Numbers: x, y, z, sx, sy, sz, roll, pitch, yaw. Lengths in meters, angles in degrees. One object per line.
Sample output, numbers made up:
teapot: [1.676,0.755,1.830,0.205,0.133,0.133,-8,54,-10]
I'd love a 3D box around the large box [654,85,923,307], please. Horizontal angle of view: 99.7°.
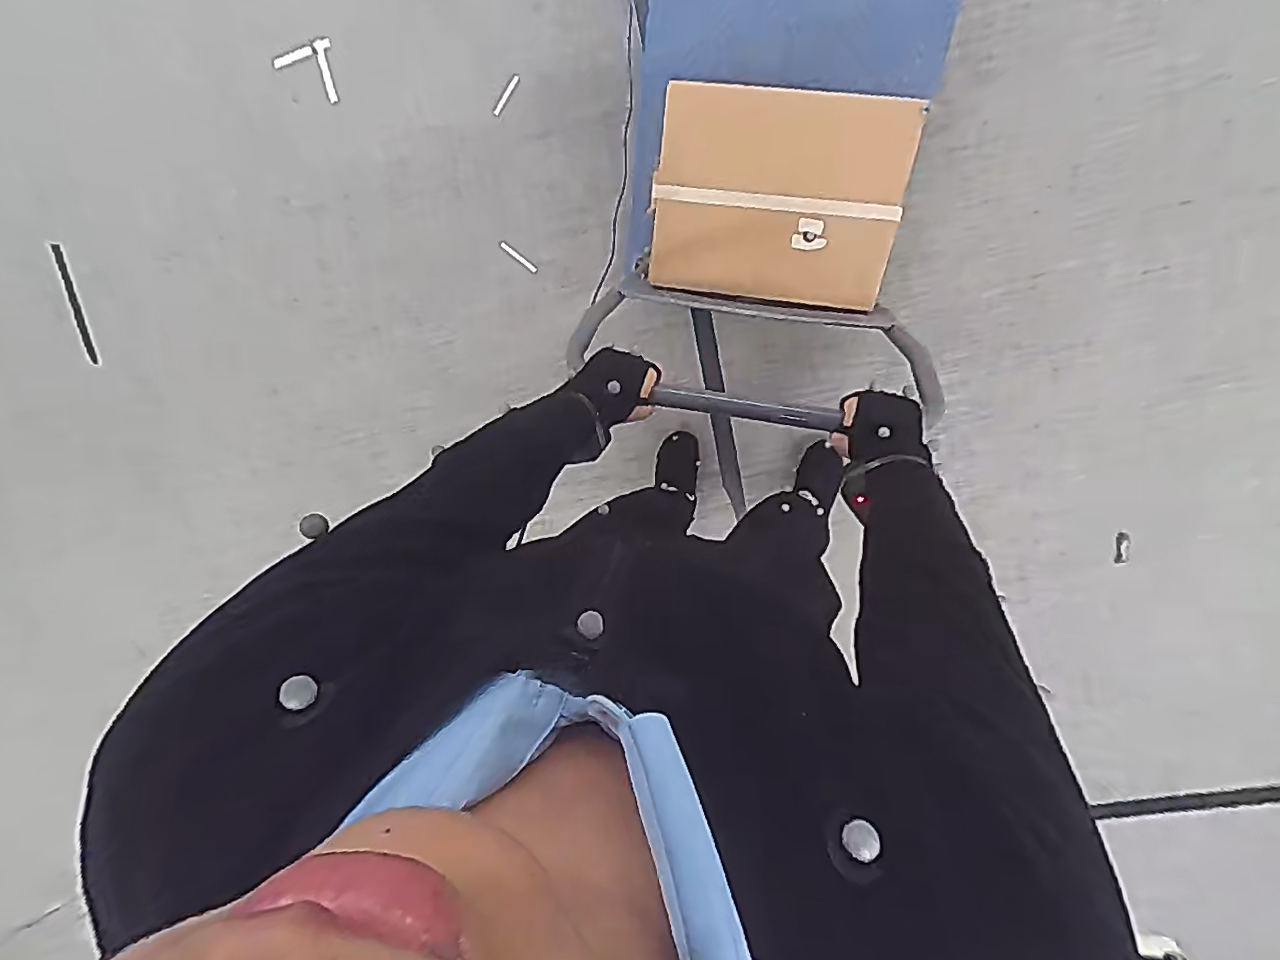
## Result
large box: [0.254,-0.536,1.054,0.408,0.320,0.320,9,117,6]
